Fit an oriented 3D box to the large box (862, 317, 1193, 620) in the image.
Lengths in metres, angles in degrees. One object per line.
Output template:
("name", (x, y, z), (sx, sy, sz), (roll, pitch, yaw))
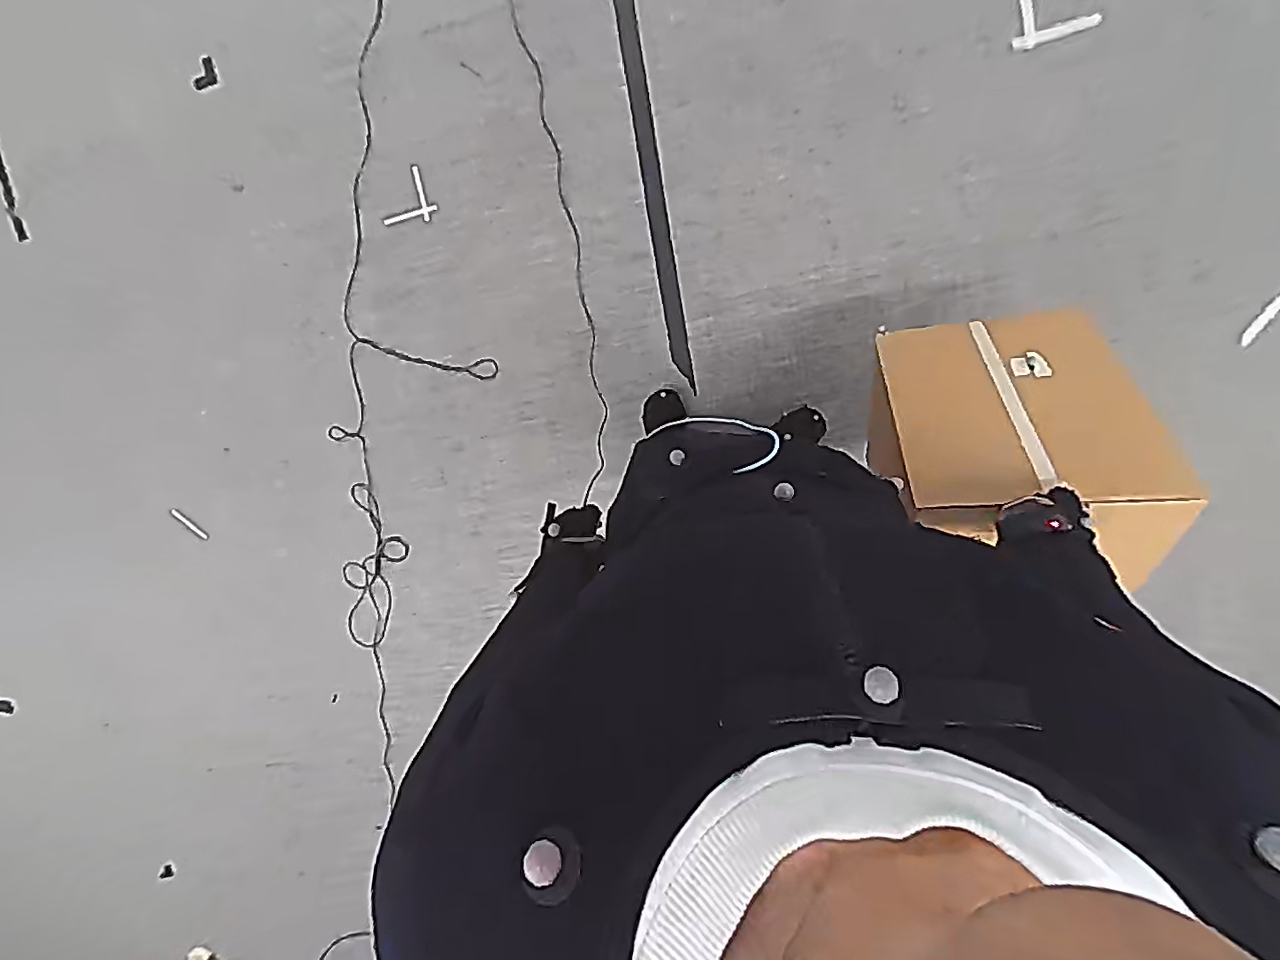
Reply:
("large box", (0.571, -0.016, 0.913), (0.320, 0.408, 0.320), (-3, 136, 14))
